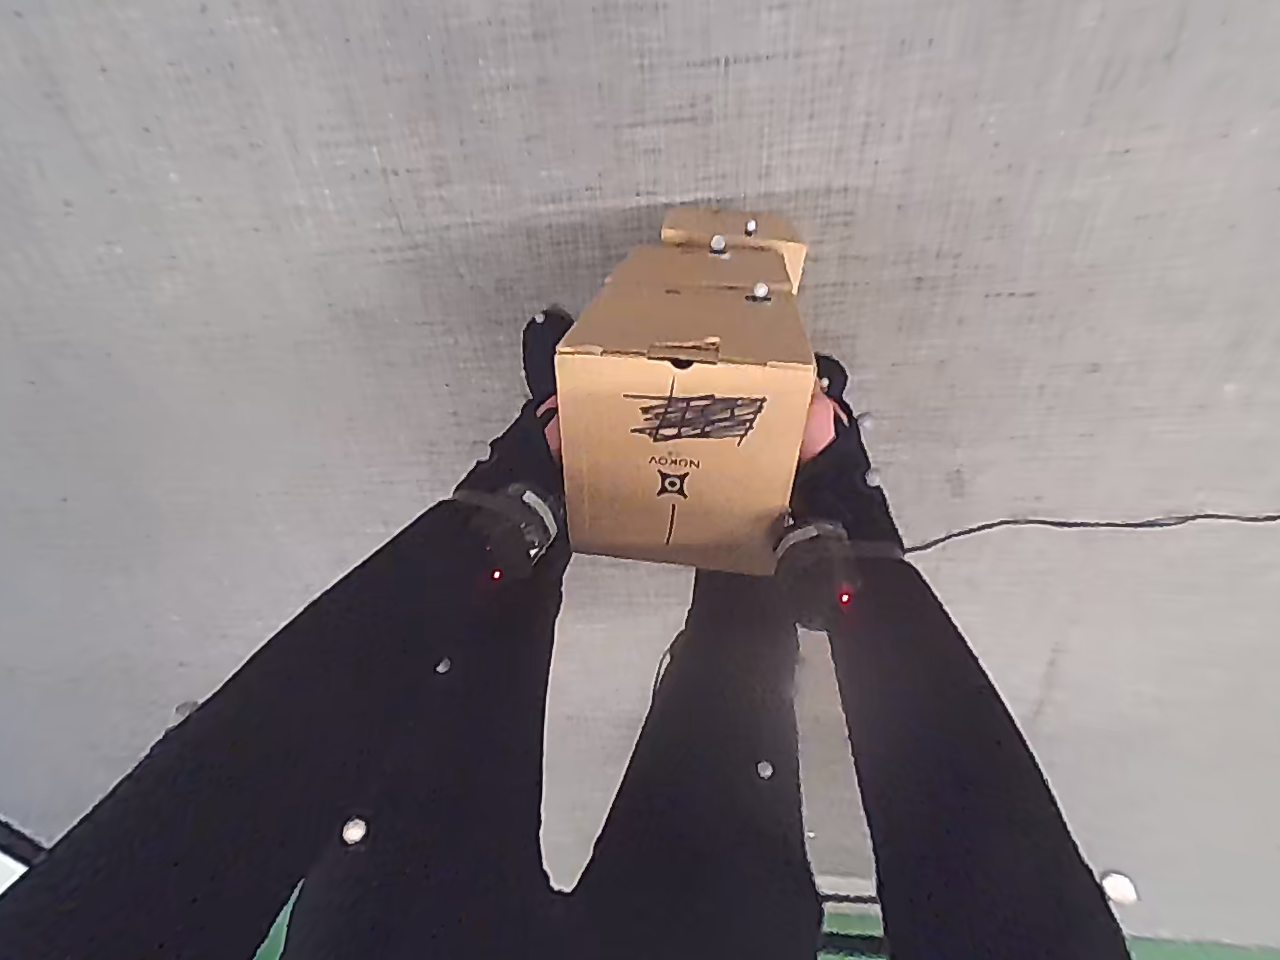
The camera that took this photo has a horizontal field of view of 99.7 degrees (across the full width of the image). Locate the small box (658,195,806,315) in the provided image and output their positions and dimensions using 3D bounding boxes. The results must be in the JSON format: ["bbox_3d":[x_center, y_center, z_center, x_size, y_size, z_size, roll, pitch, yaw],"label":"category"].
[{"bbox_3d":[0.106,-0.254,0.707,0.168,0.176,0.179,8,127,3],"label":"small box"}]

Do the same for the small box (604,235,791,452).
[{"bbox_3d":[0.063,-0.150,0.576,0.168,0.176,0.179,4,123,8],"label":"small box"}]
